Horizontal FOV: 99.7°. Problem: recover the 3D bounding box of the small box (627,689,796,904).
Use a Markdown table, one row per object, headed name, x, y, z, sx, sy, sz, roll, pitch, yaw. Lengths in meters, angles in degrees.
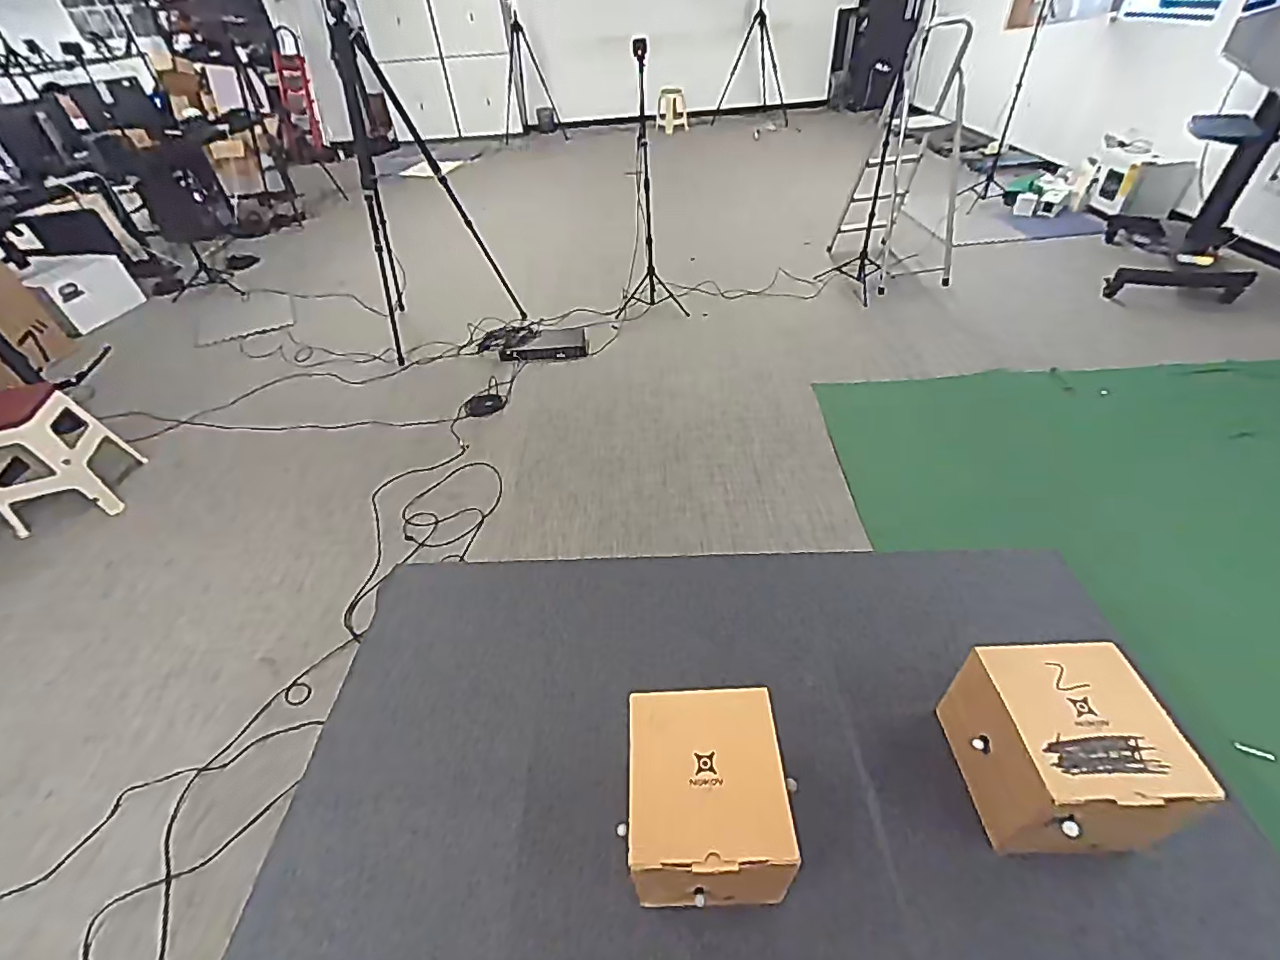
| name | x | y | z | sx | sy | sz | roll | pitch | yaw |
| --- | --- | --- | --- | --- | --- | --- | --- | --- | --- |
| small box | 0.071 | 0.367 | 0.630 | 0.168 | 0.176 | 0.179 | -2 | 43 | 1 |
